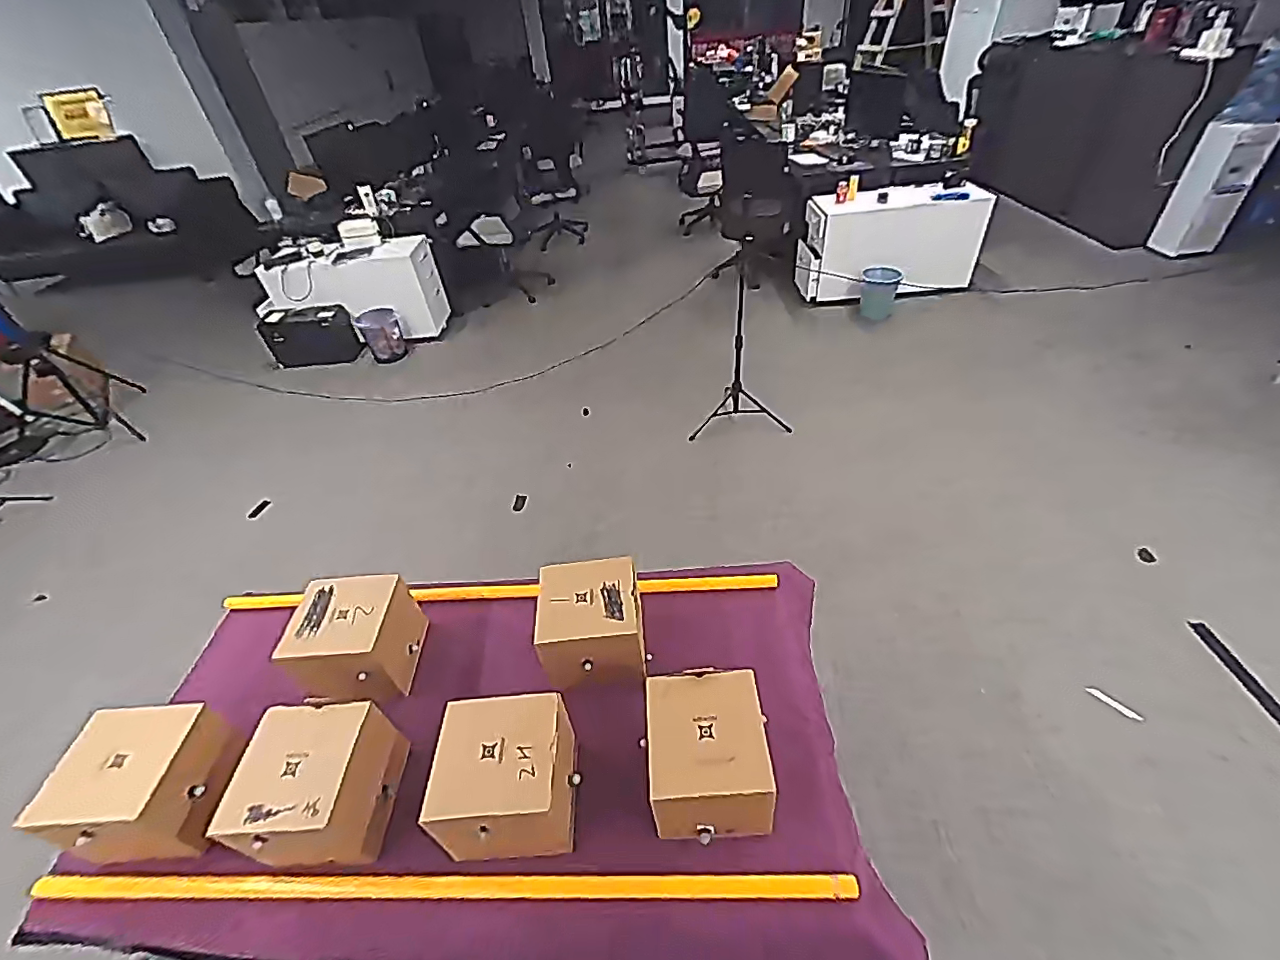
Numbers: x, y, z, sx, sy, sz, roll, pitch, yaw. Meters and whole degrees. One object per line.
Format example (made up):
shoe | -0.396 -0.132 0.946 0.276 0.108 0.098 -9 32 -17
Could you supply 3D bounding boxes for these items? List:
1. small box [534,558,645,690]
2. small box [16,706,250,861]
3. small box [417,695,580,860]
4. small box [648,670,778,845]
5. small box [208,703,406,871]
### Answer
small box | -0.084 0.265 0.990 0.179 0.176 0.168 -7 42 2
small box | -0.761 0.475 0.845 0.179 0.176 0.168 -4 41 1
small box | -0.195 0.443 0.802 0.179 0.176 0.168 -5 40 3
small box | 0.101 0.408 0.799 0.168 0.176 0.179 -6 39 4
small box | -0.481 0.463 0.819 0.168 0.176 0.179 -5 41 4
